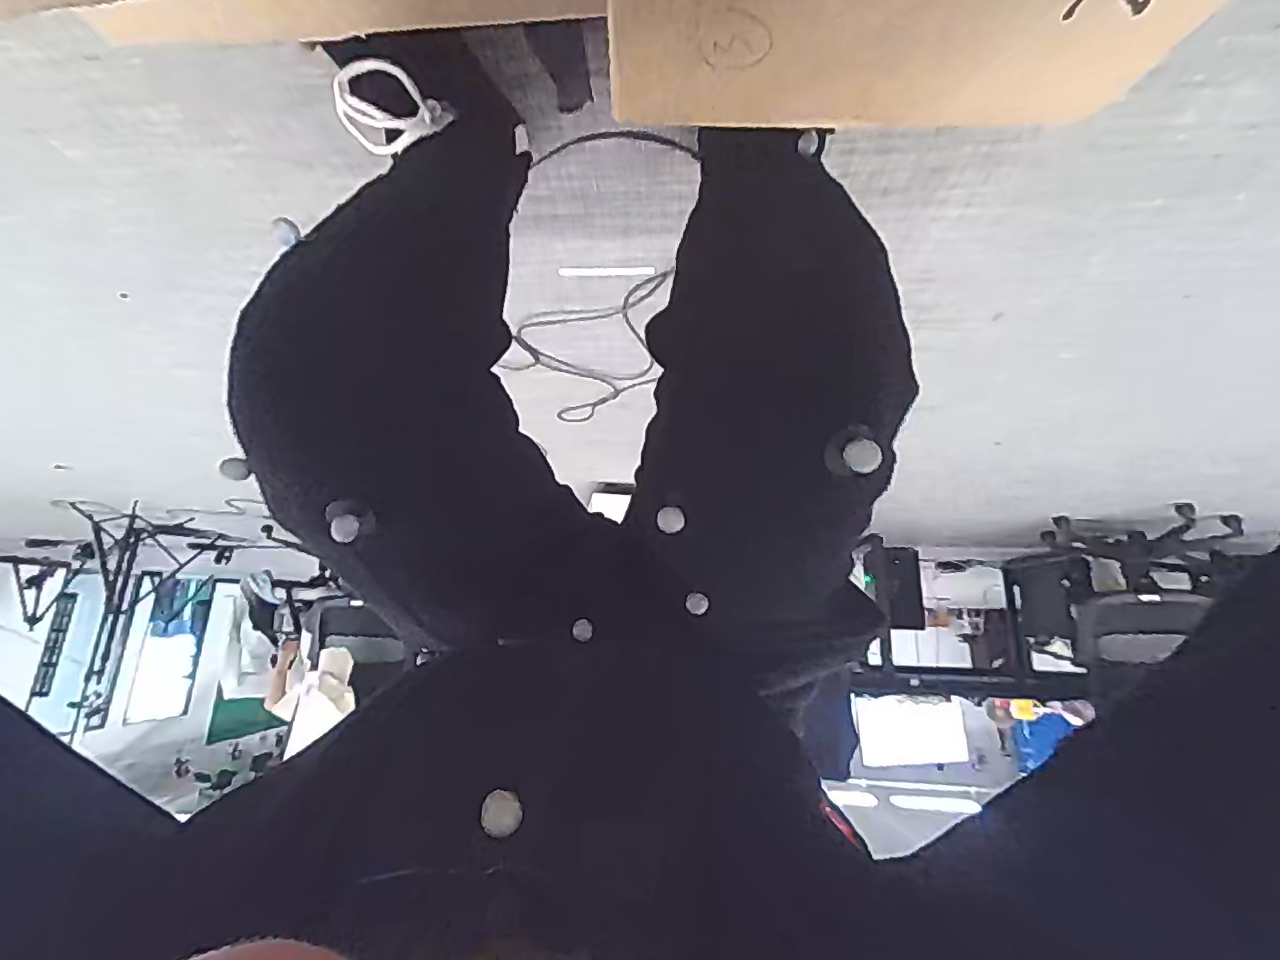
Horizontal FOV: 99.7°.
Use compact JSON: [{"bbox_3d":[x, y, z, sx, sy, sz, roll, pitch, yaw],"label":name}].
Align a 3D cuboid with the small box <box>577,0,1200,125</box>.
[{"bbox_3d":[0.069,-0.215,0.115,0.179,0.176,0.168,-2,177,-1],"label":"small box"}]
